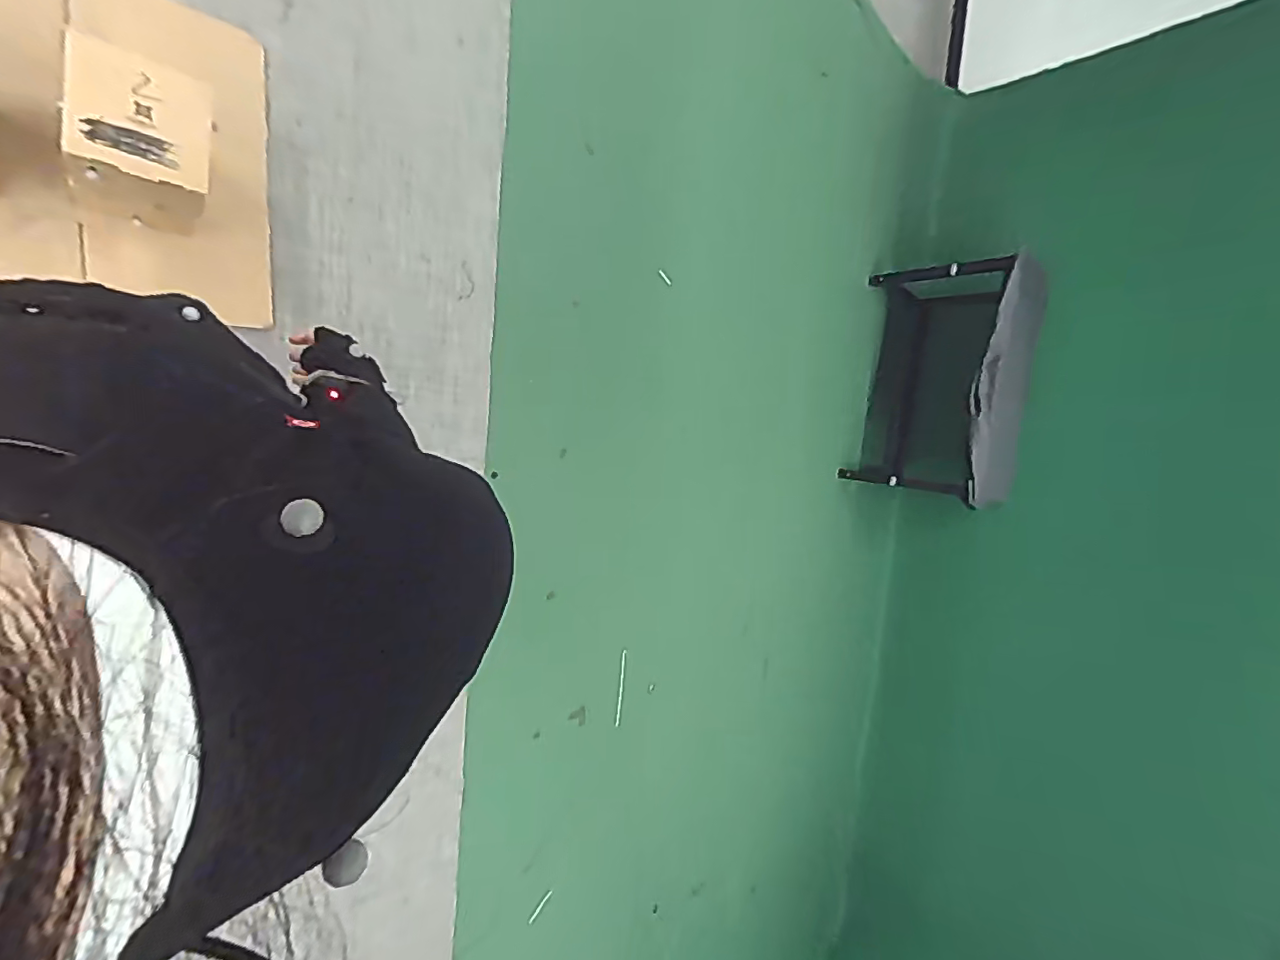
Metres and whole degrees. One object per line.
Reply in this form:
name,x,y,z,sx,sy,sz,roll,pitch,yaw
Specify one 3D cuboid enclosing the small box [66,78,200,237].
small box,-0.926,-0.574,0.993,0.168,0.176,0.179,3,96,-43
